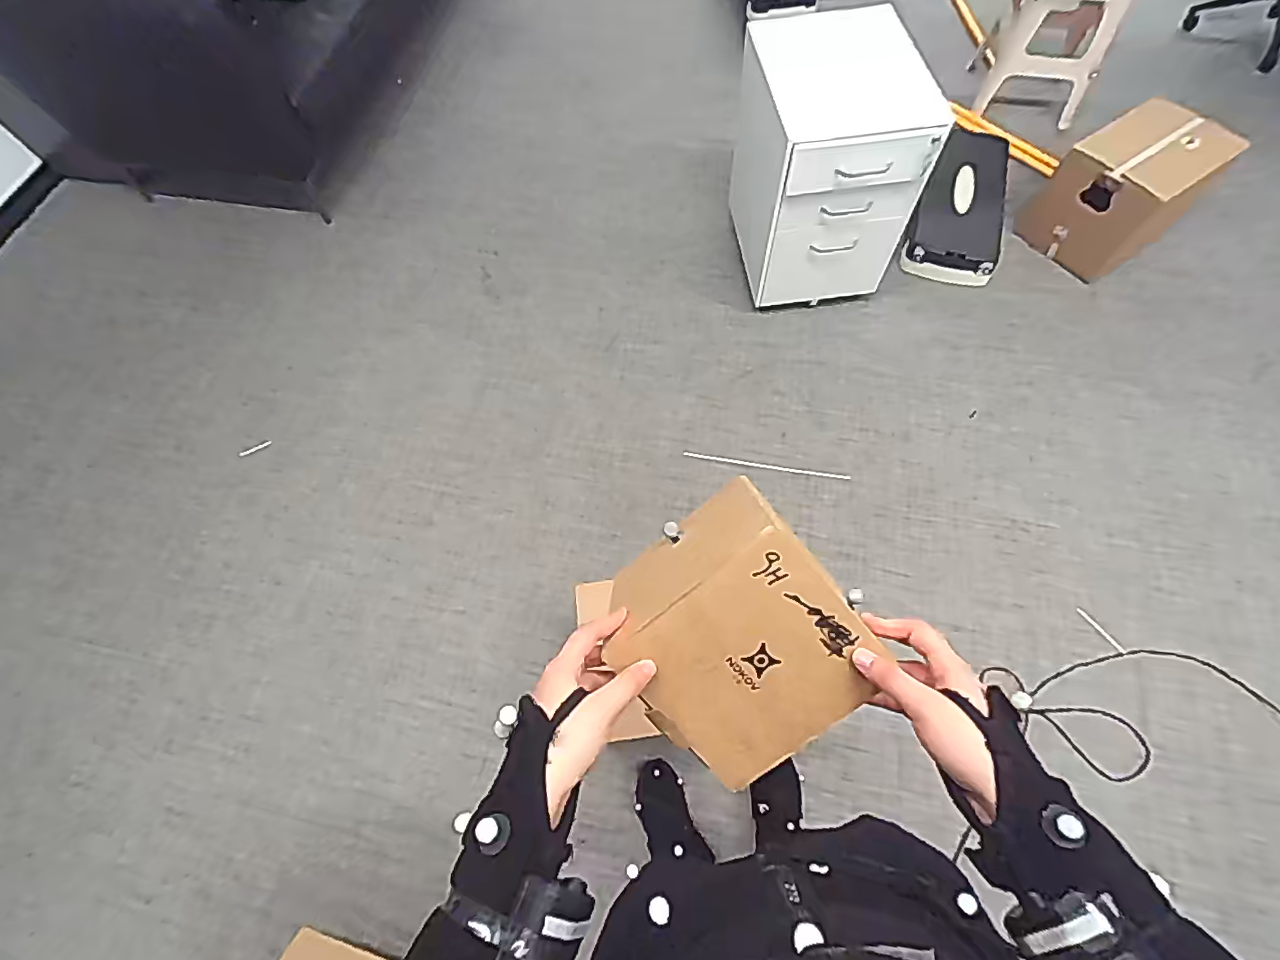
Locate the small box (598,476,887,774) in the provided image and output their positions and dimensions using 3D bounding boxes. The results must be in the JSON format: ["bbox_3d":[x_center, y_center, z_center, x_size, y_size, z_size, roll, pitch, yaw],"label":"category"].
[{"bbox_3d":[0.087,0.121,0.512,0.179,0.176,0.168,-40,98,10],"label":"small box"}]
